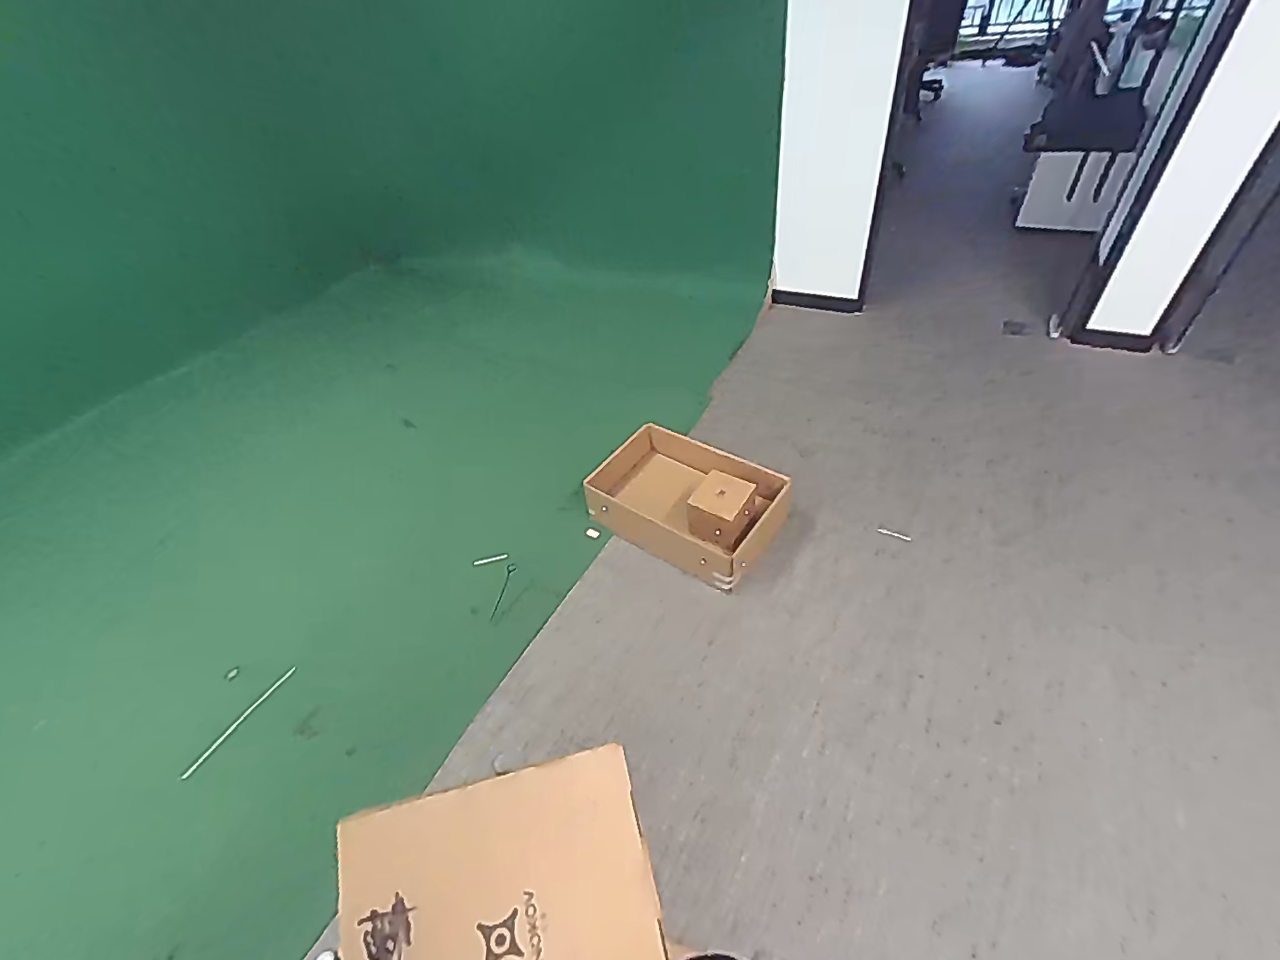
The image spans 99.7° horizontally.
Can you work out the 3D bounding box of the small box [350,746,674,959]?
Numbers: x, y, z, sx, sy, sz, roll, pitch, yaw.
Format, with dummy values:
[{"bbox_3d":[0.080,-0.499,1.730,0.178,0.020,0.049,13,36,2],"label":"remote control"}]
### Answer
[{"bbox_3d":[-0.097,0.294,0.370,0.179,0.176,0.168,-3,63,-26],"label":"small box"}]
